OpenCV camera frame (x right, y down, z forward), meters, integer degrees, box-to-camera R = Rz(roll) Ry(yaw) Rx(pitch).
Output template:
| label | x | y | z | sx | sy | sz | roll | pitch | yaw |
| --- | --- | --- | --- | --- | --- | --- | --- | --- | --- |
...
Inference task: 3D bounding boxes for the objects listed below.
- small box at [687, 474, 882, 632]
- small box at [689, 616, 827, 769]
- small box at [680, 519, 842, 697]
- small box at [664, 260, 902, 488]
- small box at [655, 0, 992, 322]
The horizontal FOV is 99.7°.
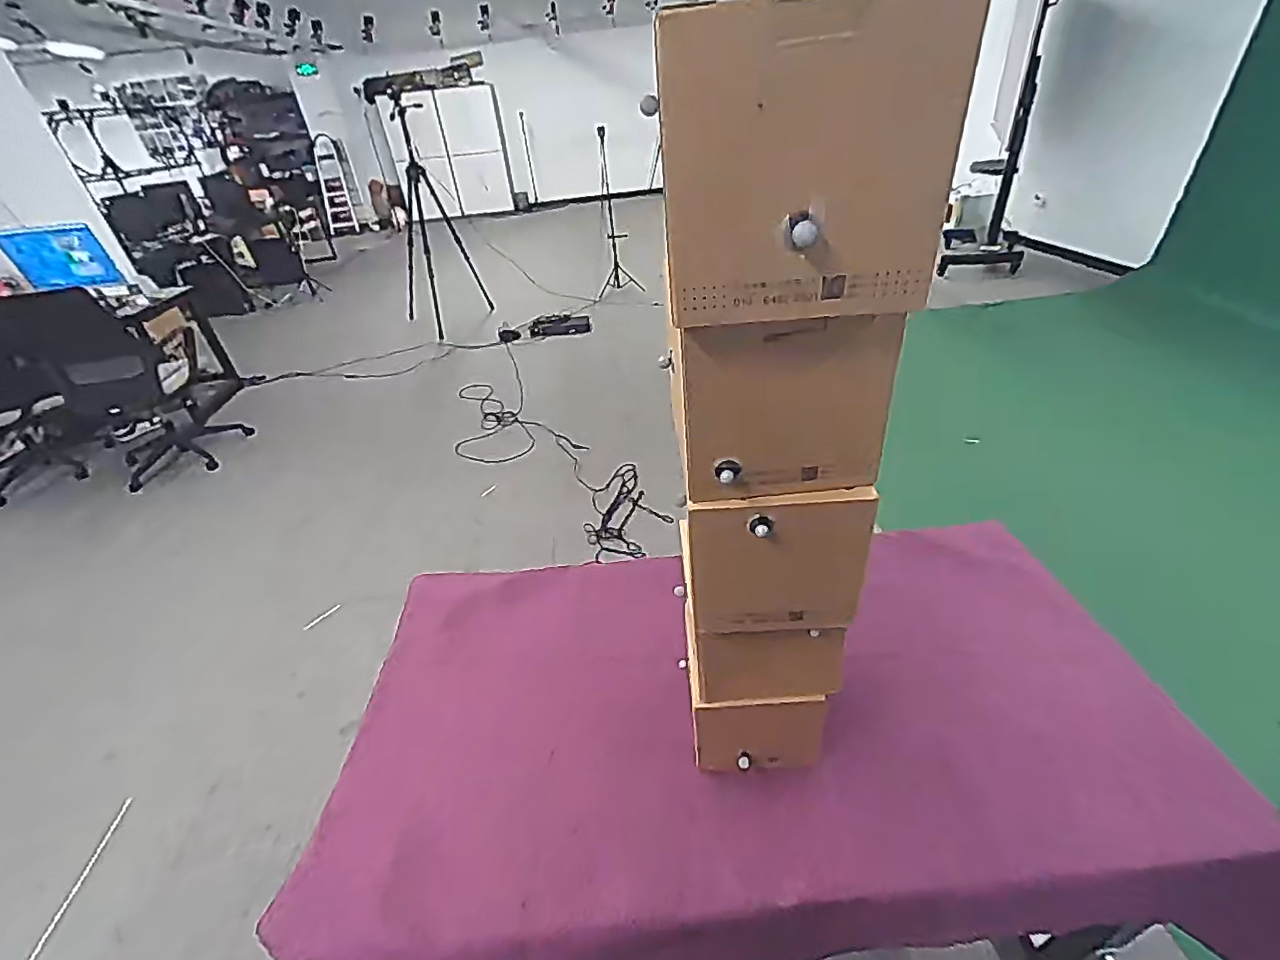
| label | x | y | z | sx | sy | sz | roll | pitch | yaw |
| --- | --- | --- | --- | --- | --- | --- | --- | --- | --- |
| small box | 0.134 | 0.038 | 0.575 | 0.168 | 0.176 | 0.179 | -4 | 35 | 5 |
| small box | 0.158 | 0.289 | 0.781 | 0.168 | 0.176 | 0.179 | -5 | 36 | 4 |
| small box | 0.149 | 0.157 | 0.689 | 0.179 | 0.176 | 0.168 | -5 | 36 | 2 |
| small box | 0.115 | -0.103 | 0.491 | 0.168 | 0.176 | 0.179 | -6 | 35 | 1 |
| small box | 0.101 | -0.221 | 0.375 | 0.168 | 0.176 | 0.179 | -3 | 36 | 6 |
